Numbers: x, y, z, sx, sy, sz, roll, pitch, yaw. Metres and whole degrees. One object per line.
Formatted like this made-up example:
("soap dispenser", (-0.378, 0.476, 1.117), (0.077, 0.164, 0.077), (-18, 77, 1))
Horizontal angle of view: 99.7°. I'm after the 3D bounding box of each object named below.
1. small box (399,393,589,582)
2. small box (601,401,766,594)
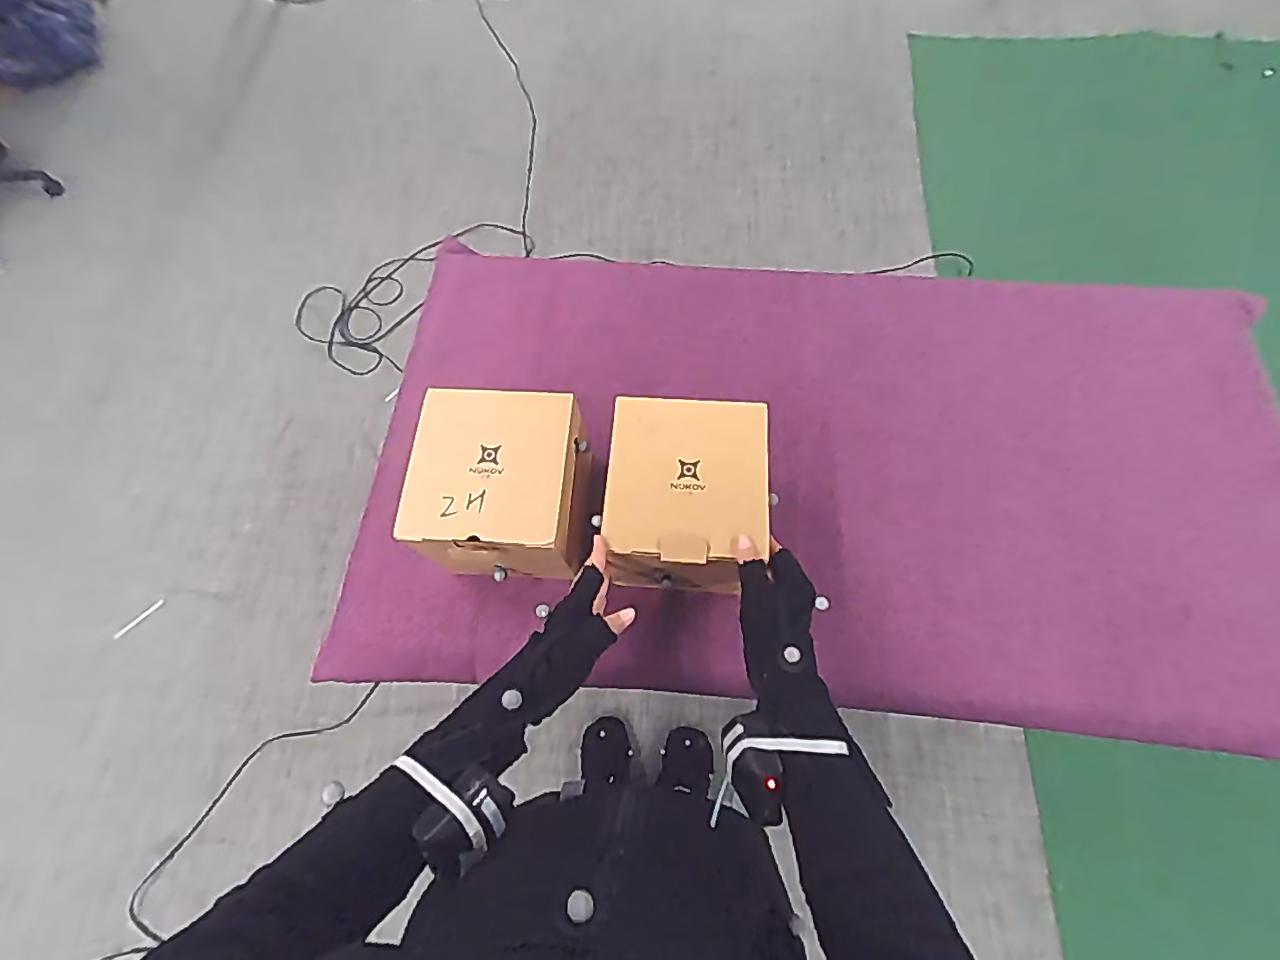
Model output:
("small box", (-0.155, 0.015, 0.646), (0.168, 0.176, 0.179), (2, 69, 3))
("small box", (0.050, 0.028, 0.636), (0.168, 0.176, 0.179), (3, 69, 3))
